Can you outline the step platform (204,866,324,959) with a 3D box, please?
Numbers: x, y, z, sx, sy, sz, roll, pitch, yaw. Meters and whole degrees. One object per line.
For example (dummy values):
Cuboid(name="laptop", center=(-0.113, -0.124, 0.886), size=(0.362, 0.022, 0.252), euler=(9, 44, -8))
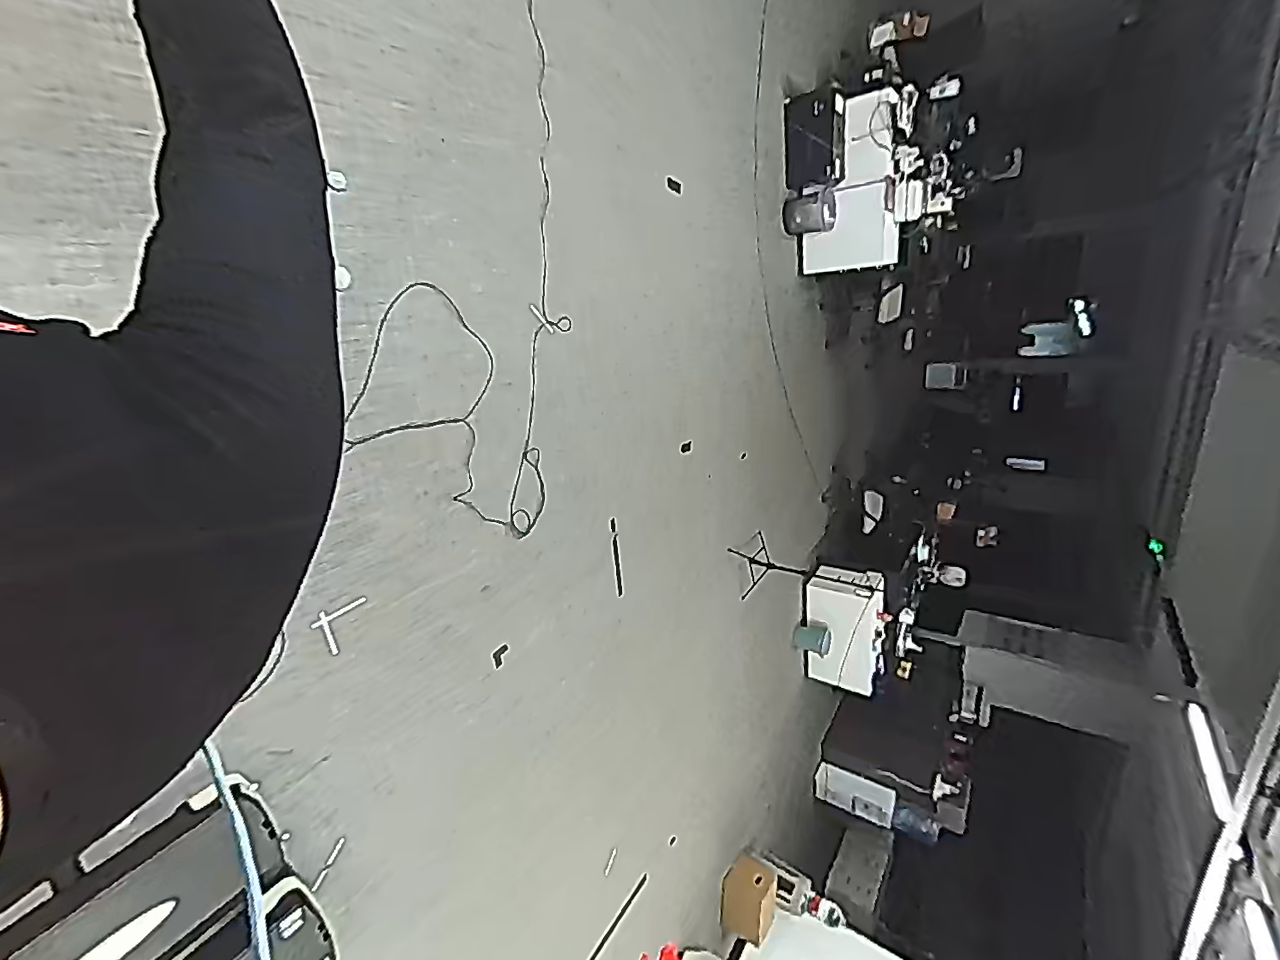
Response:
Cuboid(name="step platform", center=(-1.092, 1.262, 1.193), size=(0.684, 0.204, 0.286), euler=(-32, 121, -46))
